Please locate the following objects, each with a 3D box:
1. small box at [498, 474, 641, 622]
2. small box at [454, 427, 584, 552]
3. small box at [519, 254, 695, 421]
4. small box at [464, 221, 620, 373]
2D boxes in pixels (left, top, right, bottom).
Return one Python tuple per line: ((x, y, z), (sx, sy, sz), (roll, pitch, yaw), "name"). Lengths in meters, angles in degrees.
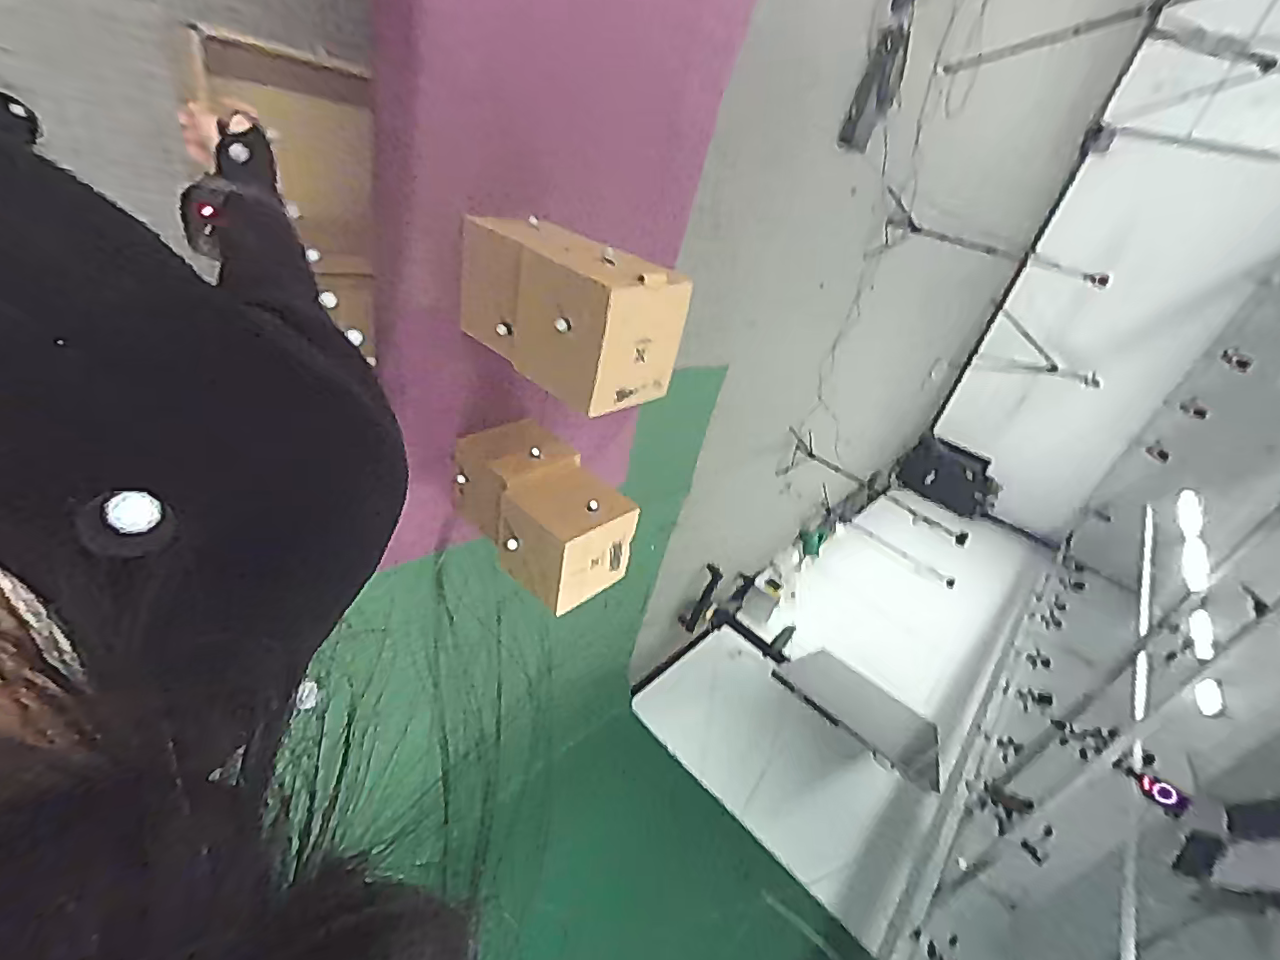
((-0.129, 0.110, 0.965), (0.179, 0.176, 0.168), (-23, 136, -44), "small box")
((-0.236, 0.013, 1.046), (0.179, 0.176, 0.168), (-24, 136, -44), "small box")
((-0.053, -0.208, 0.759), (0.168, 0.176, 0.179), (-23, 136, -44), "small box")
((-0.160, -0.290, 0.854), (0.168, 0.176, 0.179), (-23, 136, -45), "small box")
